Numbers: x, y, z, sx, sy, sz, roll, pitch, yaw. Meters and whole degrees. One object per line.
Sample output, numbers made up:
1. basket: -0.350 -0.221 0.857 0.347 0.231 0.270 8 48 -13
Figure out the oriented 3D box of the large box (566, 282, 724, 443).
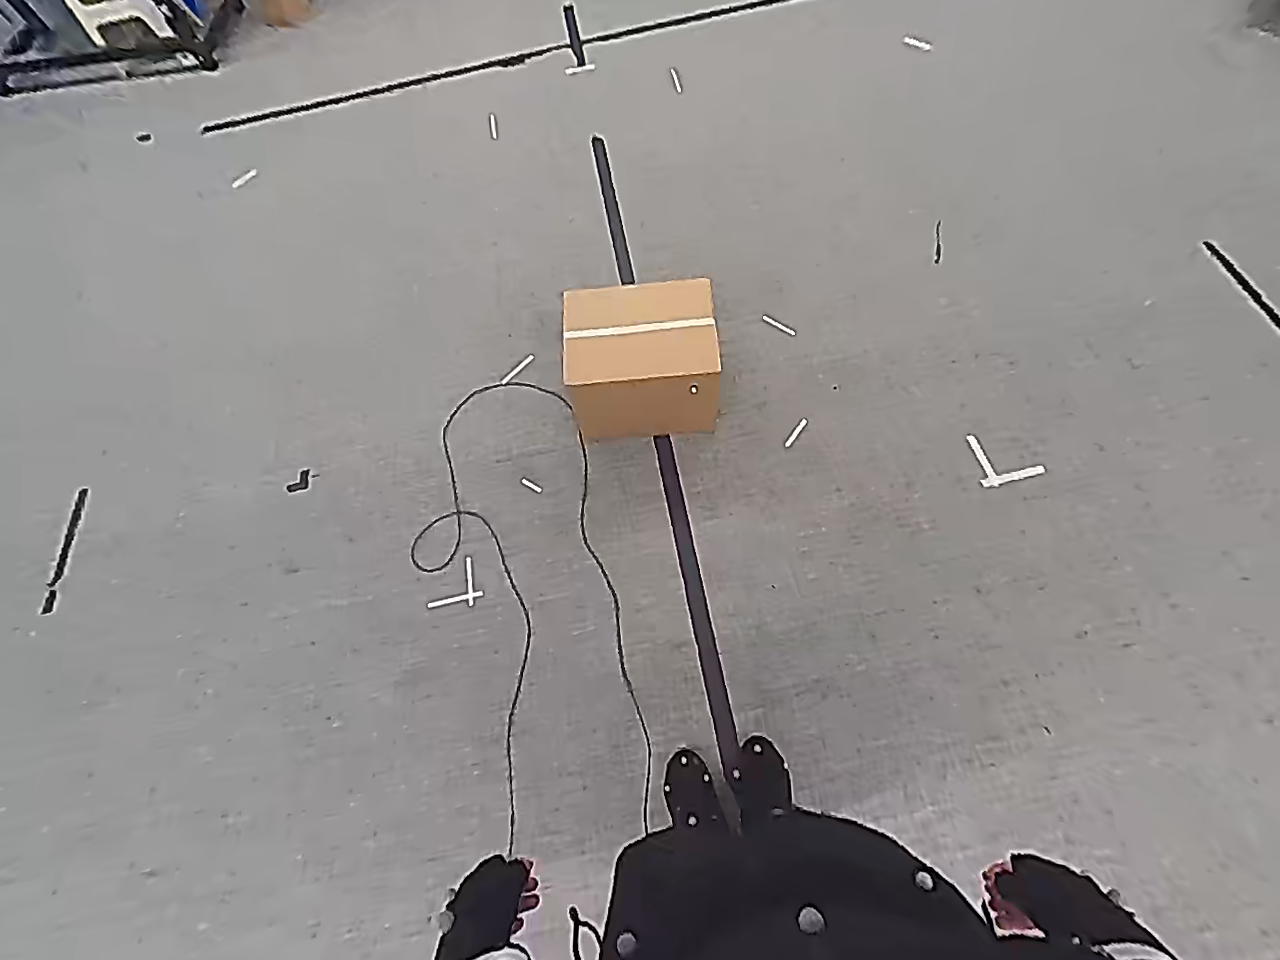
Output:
1. large box: 0.015 -0.324 1.557 0.408 0.320 0.320 -5 66 3
